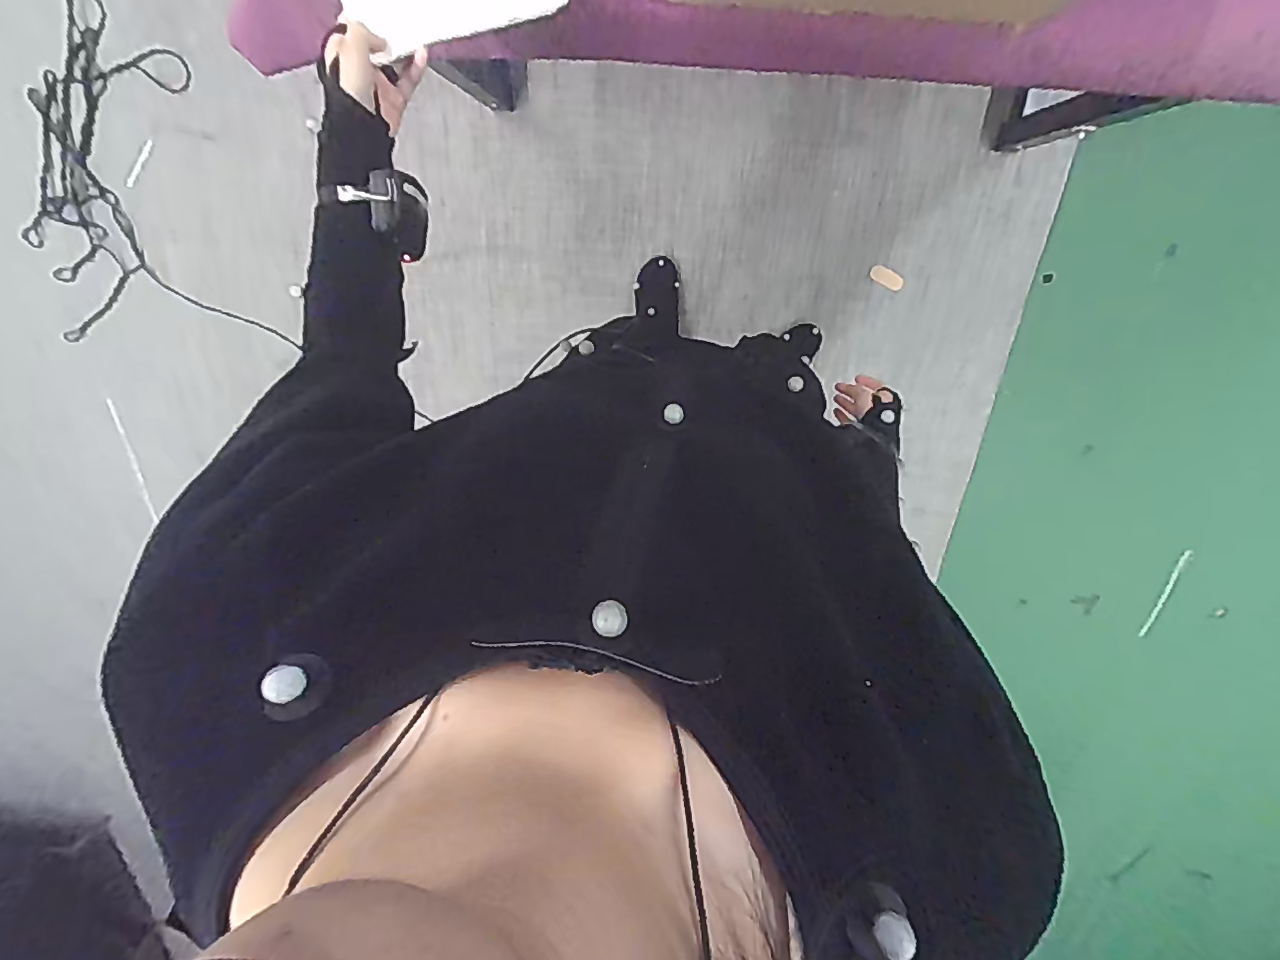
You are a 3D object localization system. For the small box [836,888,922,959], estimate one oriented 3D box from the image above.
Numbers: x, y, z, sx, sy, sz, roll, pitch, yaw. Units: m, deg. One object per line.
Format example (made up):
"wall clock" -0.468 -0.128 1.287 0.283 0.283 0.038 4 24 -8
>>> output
"small box" 0.630 1.230 1.444 0.168 0.176 0.179 -4 112 7
